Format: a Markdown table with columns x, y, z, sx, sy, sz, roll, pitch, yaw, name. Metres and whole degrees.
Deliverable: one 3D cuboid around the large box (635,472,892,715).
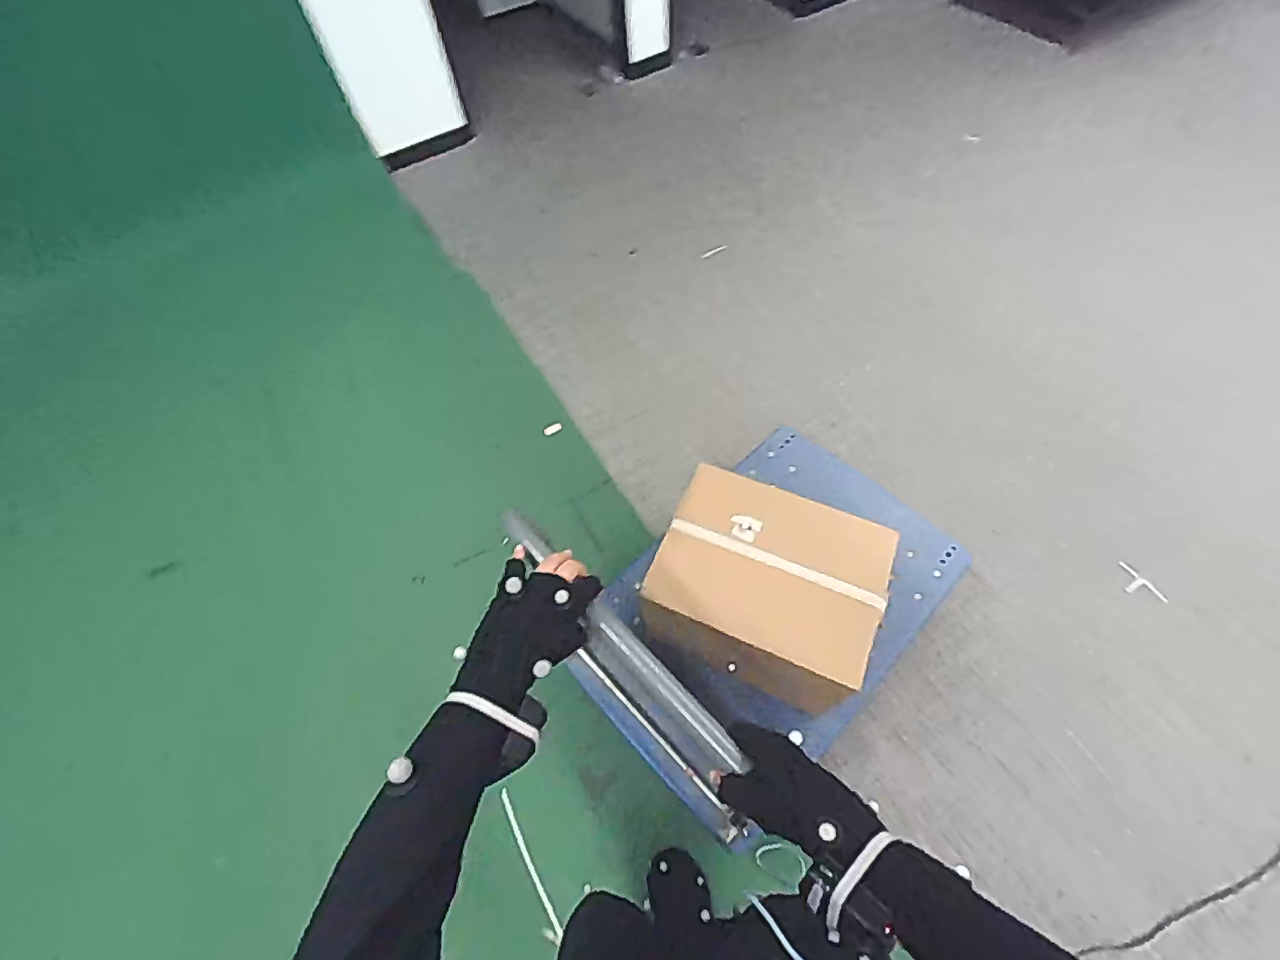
| x | y | z | sx | sy | sz | roll | pitch | yaw | name |
| --- | --- | --- | --- | --- | --- | --- | --- | --- | --- |
| 0.246 | 0.241 | 1.126 | 0.408 | 0.320 | 0.320 | 20 | 62 | 17 | large box |
